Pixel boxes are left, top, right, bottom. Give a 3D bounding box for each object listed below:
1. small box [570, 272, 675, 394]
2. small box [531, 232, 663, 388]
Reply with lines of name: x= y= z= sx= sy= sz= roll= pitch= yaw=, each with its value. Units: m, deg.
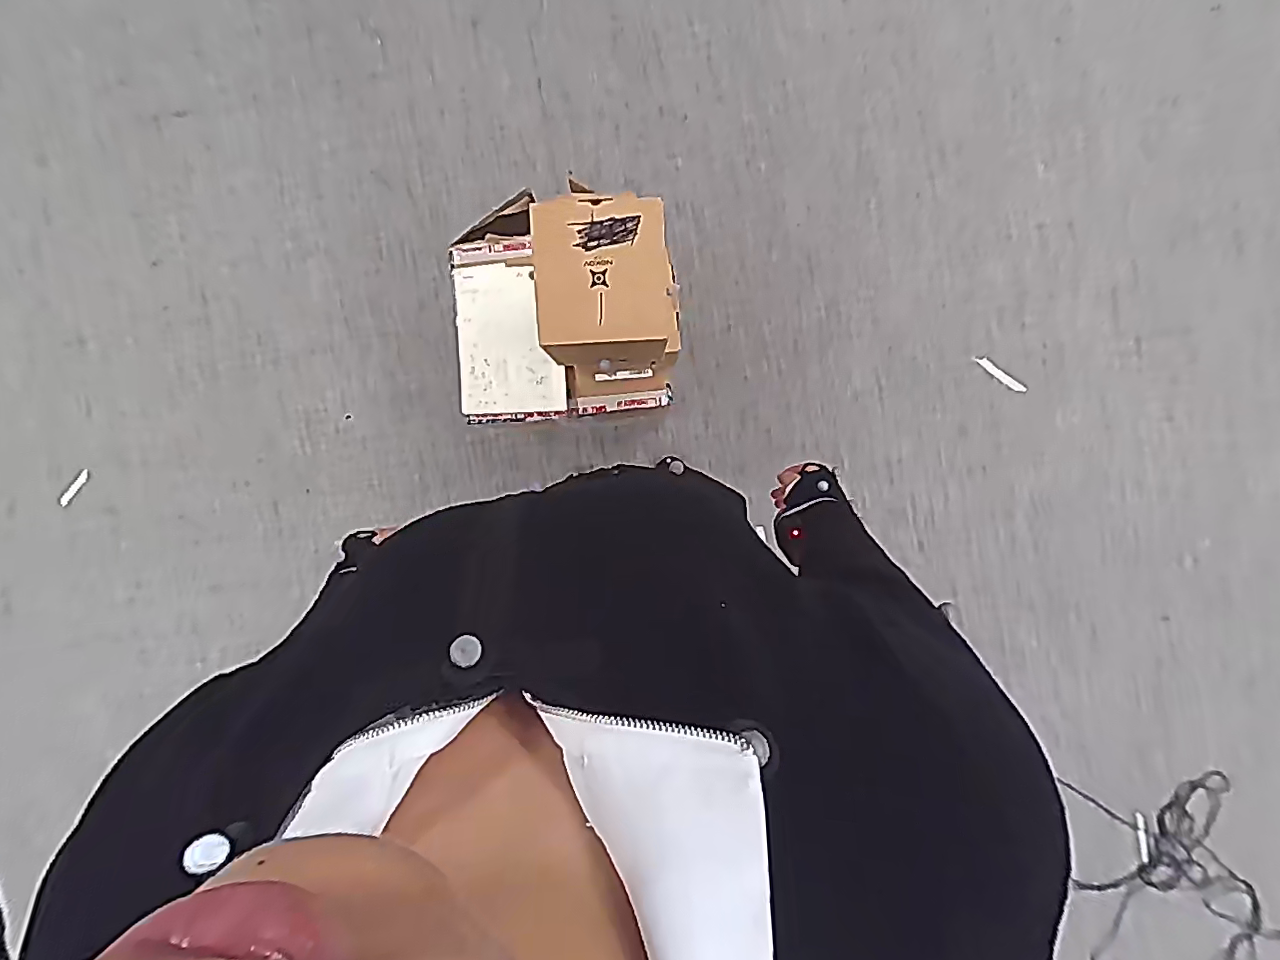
small box: x=-0.039 y=-0.244 z=0.932 sx=0.179 sy=0.176 sz=0.168 roll=-6 pitch=93 yaw=1
small box: x=-0.057 y=-0.230 z=0.767 sx=0.168 sy=0.176 sz=0.179 roll=-3 pitch=94 yaw=-1
